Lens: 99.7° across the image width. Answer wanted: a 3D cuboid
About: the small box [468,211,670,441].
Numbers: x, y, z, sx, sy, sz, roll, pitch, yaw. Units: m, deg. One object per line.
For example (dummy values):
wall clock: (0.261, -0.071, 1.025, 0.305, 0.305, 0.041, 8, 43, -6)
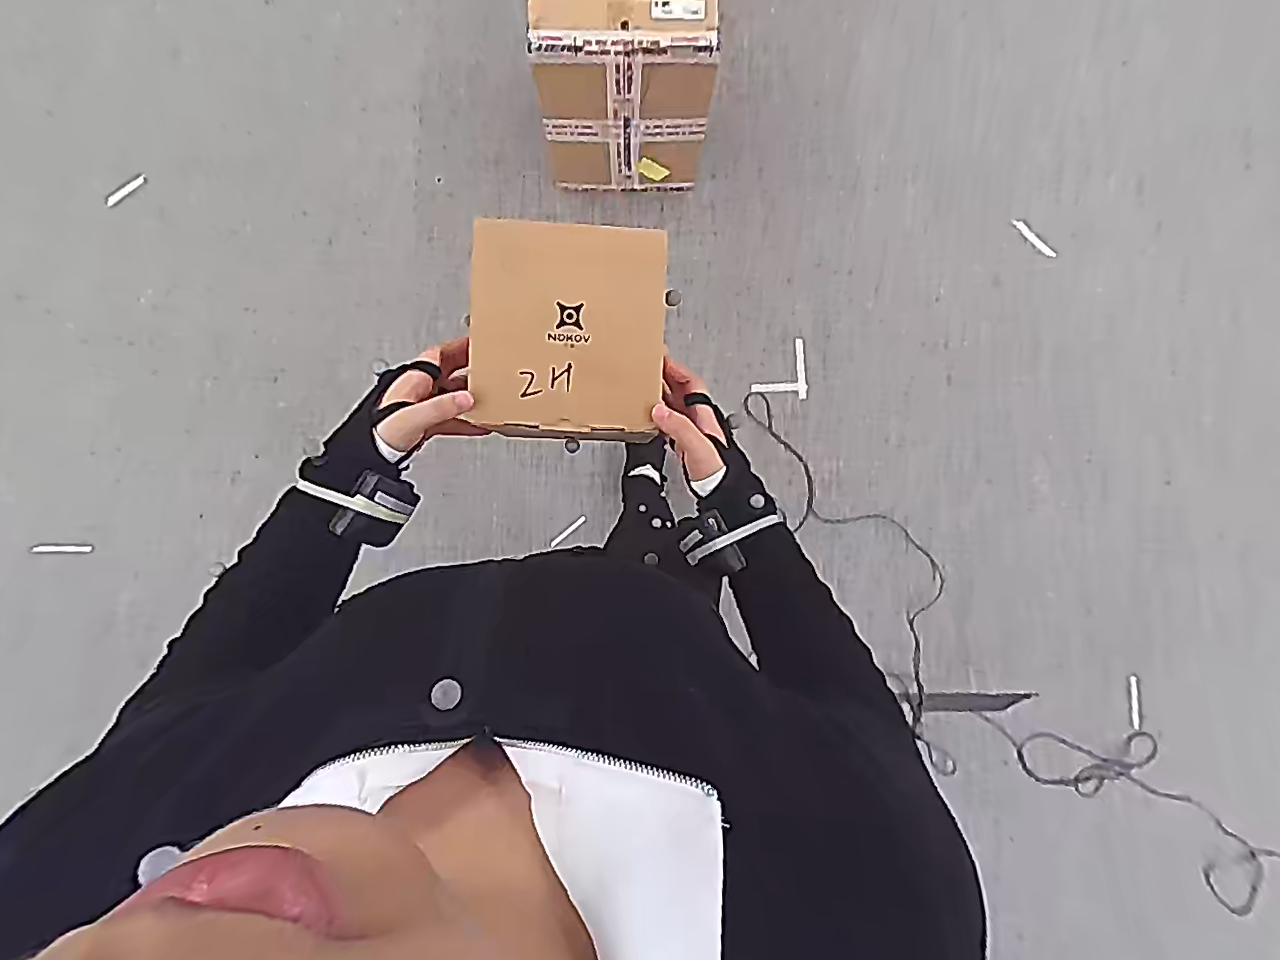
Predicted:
small box: (-0.064, -0.137, 0.540, 0.168, 0.176, 0.179, 2, 90, -3)
